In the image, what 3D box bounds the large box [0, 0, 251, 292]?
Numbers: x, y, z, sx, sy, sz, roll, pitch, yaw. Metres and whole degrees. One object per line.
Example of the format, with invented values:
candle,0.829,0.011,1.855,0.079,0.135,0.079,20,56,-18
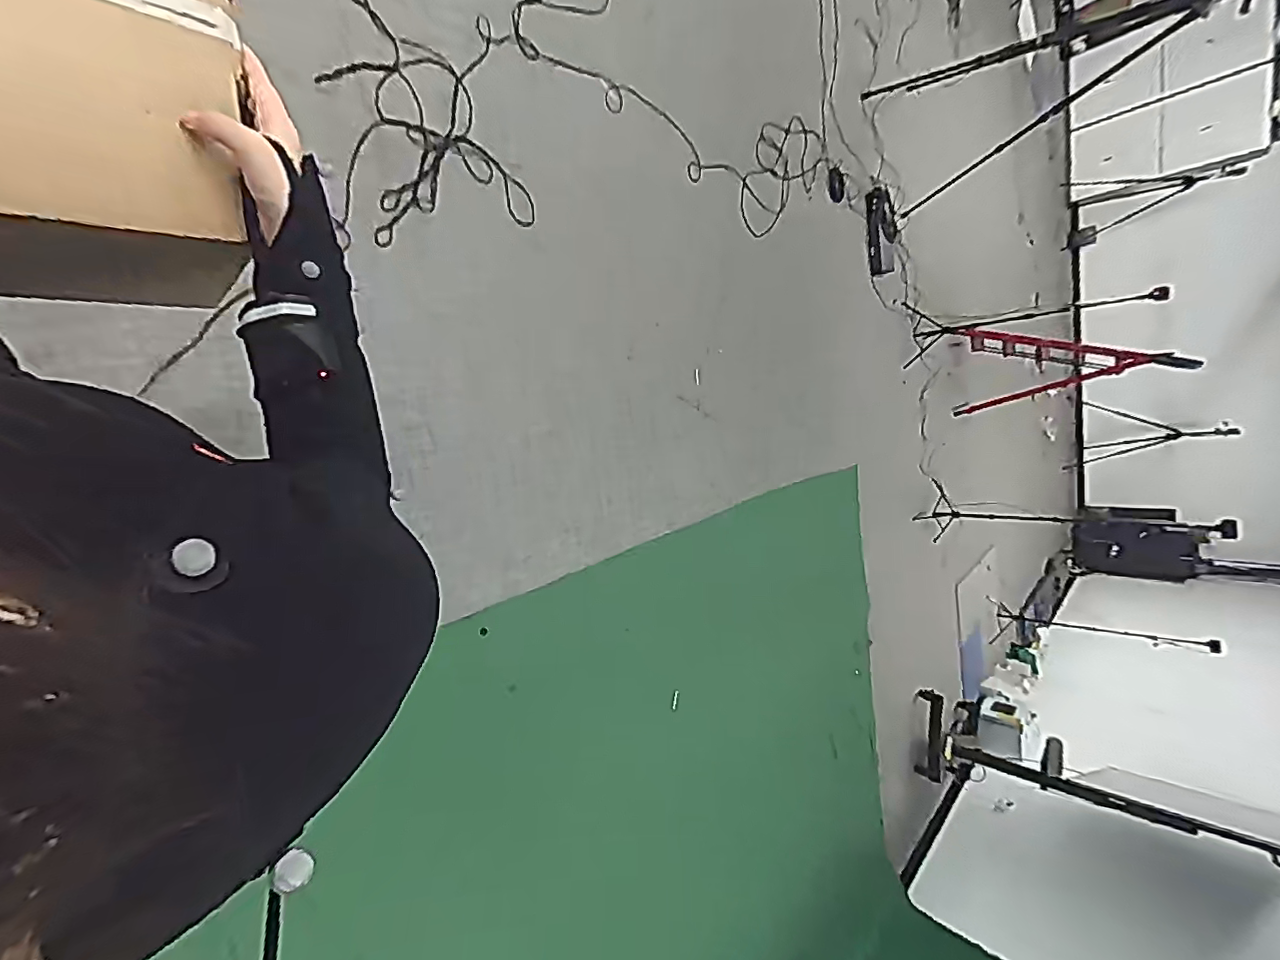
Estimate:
large box,-0.574,-0.331,0.400,0.408,0.320,0.320,-11,101,-41
